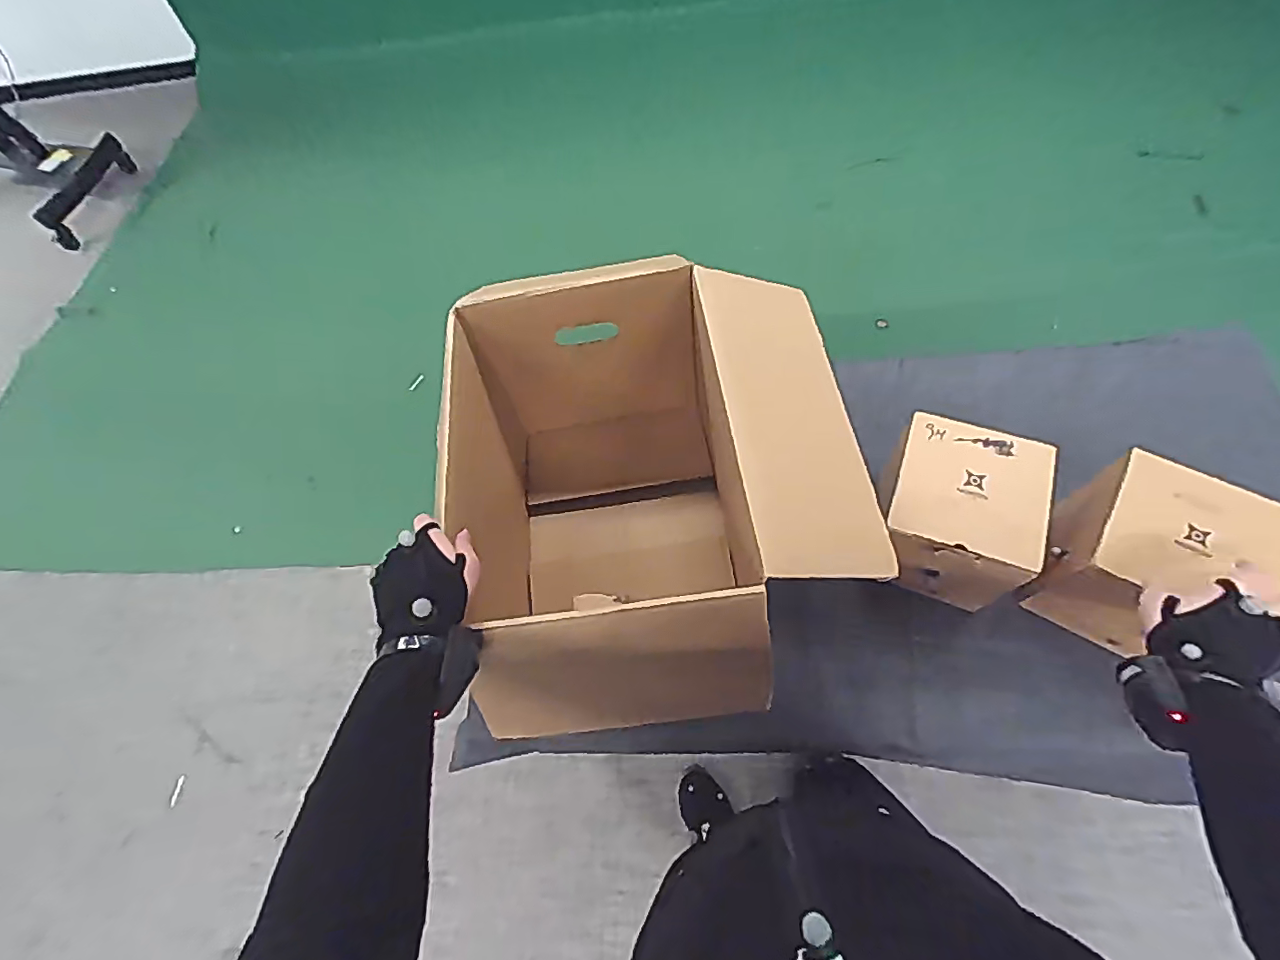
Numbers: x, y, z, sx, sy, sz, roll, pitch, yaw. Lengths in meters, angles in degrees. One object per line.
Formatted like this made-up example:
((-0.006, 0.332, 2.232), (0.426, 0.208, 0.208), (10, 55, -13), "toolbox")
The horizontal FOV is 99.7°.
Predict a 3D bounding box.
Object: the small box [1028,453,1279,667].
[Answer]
((0.619, 0.106, 0.661), (0.168, 0.176, 0.179), (28, 69, 19), "small box")
